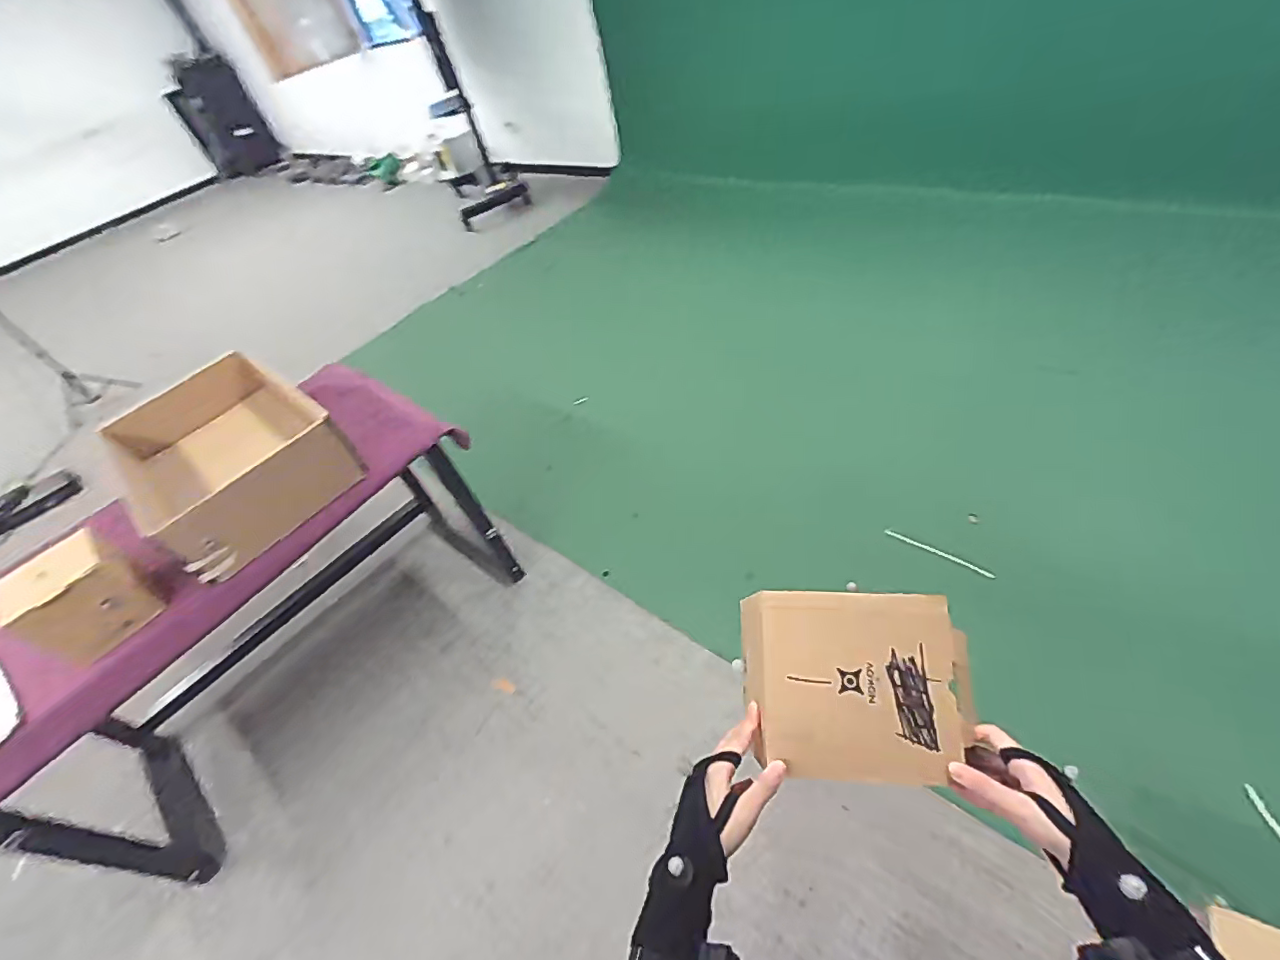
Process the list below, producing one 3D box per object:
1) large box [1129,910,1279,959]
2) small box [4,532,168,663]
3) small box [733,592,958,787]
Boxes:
[{"bbox_3d":[0.965,0.940,0.767,0.320,0.320,0.408,12,51,25],"label":"large box"},{"bbox_3d":[-1.121,0.244,1.104,0.179,0.176,0.168,26,58,36],"label":"small box"},{"bbox_3d":[0.197,0.211,0.572,0.179,0.176,0.168,0,72,4],"label":"small box"}]
